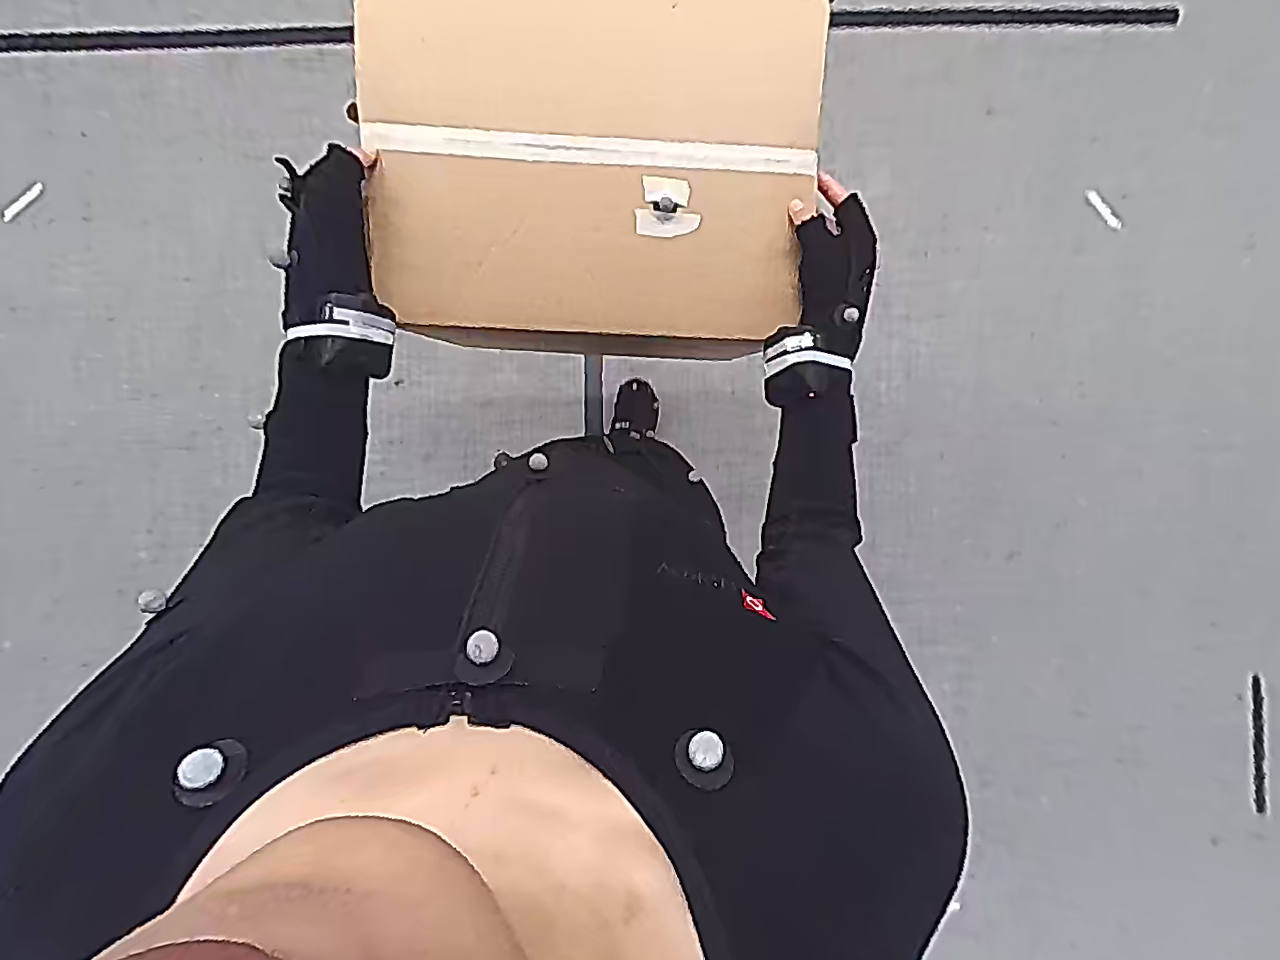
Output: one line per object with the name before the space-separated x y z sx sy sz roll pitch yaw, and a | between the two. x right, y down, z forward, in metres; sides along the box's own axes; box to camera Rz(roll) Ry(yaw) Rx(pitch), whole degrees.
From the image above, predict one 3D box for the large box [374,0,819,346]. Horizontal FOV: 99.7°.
large box | -0.048 -0.333 0.648 0.408 0.320 0.320 1 100 -4
